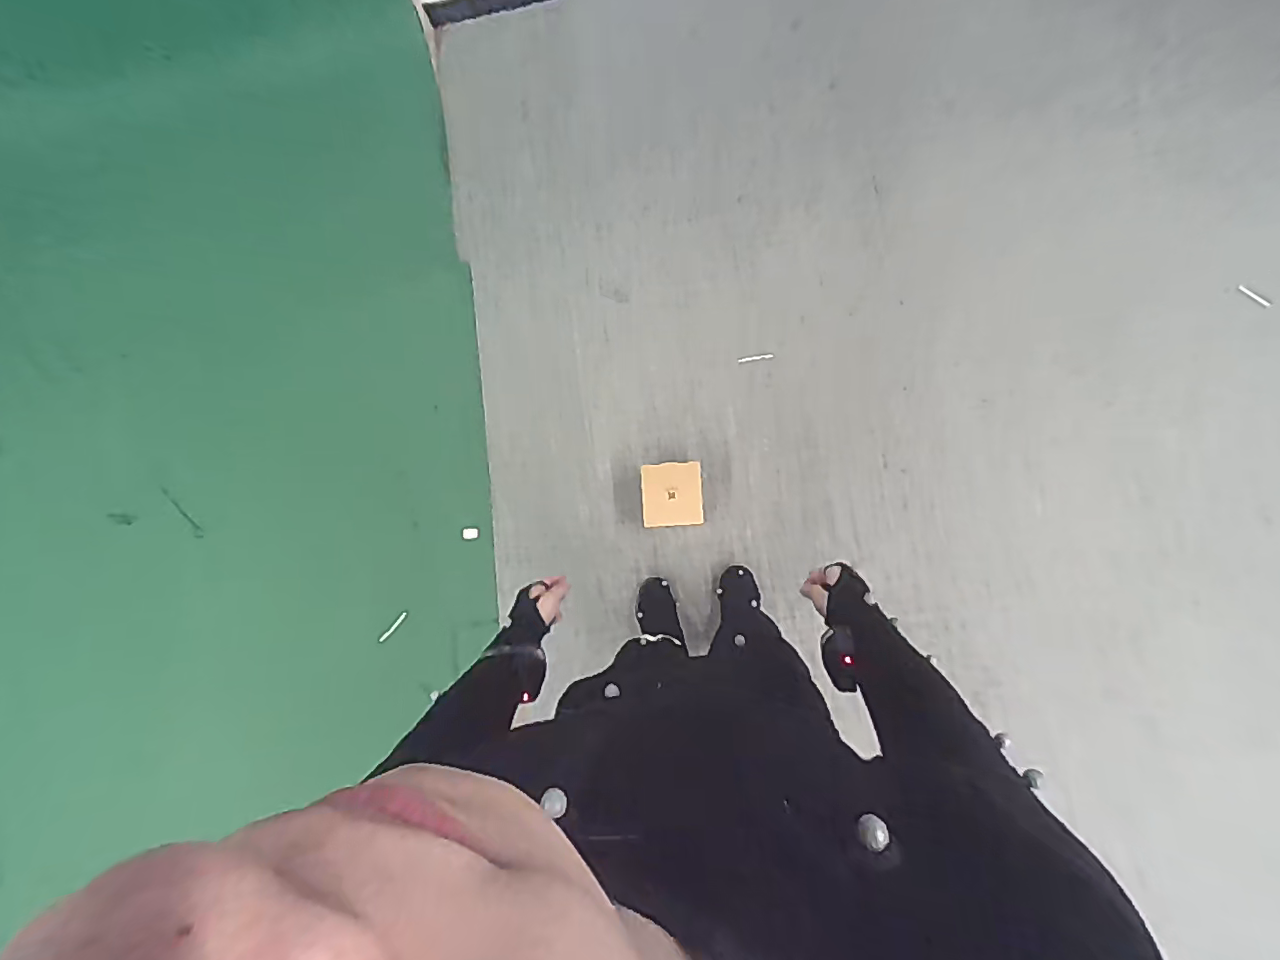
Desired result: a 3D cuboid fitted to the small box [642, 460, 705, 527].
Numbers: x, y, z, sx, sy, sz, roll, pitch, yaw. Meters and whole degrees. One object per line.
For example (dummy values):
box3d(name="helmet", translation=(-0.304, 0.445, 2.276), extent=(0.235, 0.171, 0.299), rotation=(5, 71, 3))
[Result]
box3d(name="small box", translation=(0.100, 0.045, 1.558), extent=(0.168, 0.176, 0.179), rotation=(-4, 81, 6))
